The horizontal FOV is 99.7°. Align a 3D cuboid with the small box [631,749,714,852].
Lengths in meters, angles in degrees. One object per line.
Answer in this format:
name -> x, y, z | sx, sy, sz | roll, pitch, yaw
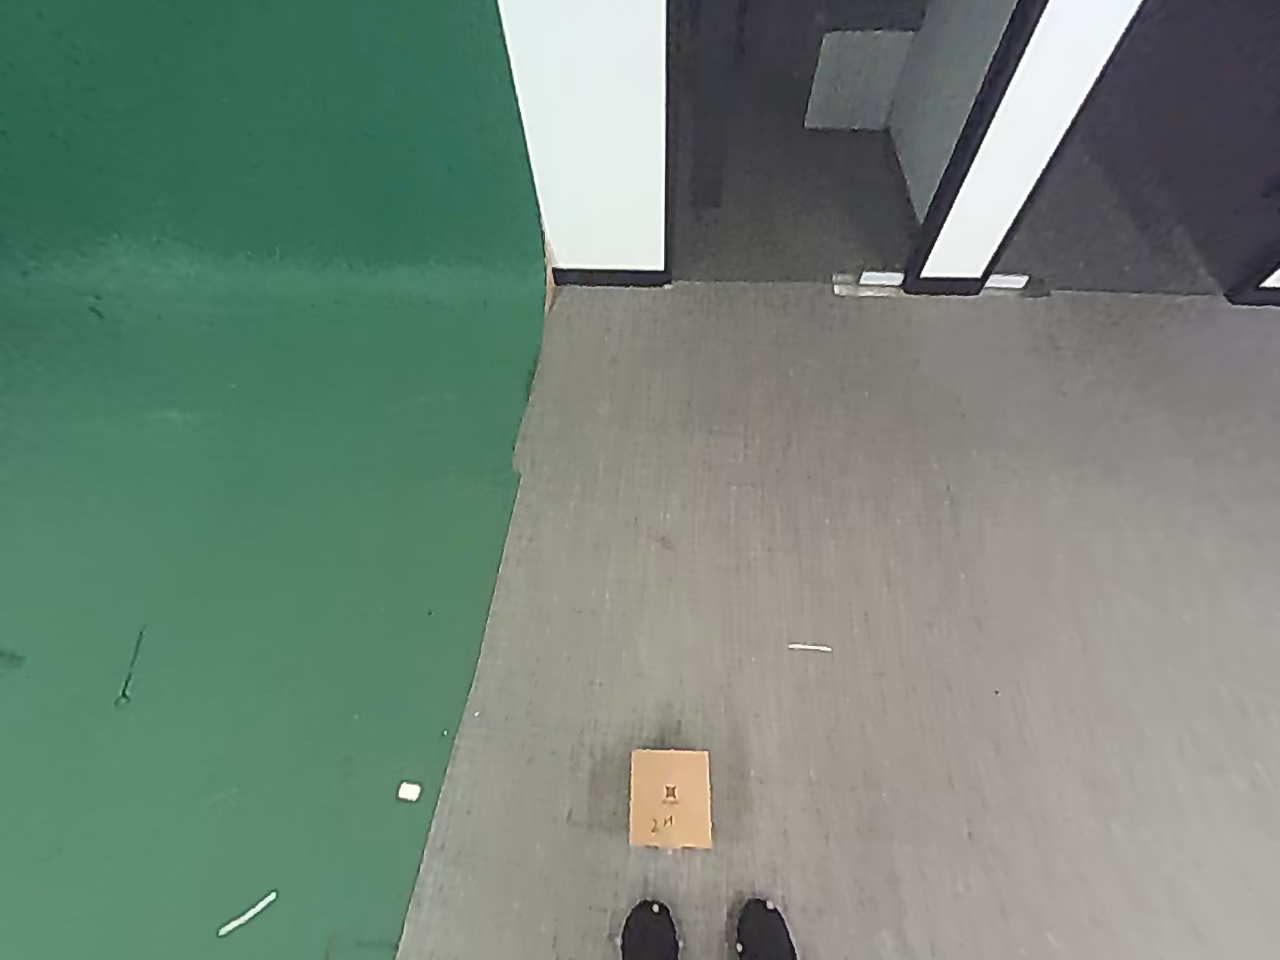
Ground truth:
small box -> 0.068, 0.692, 1.165 | 0.168, 0.176, 0.179 | 0, 57, 3
